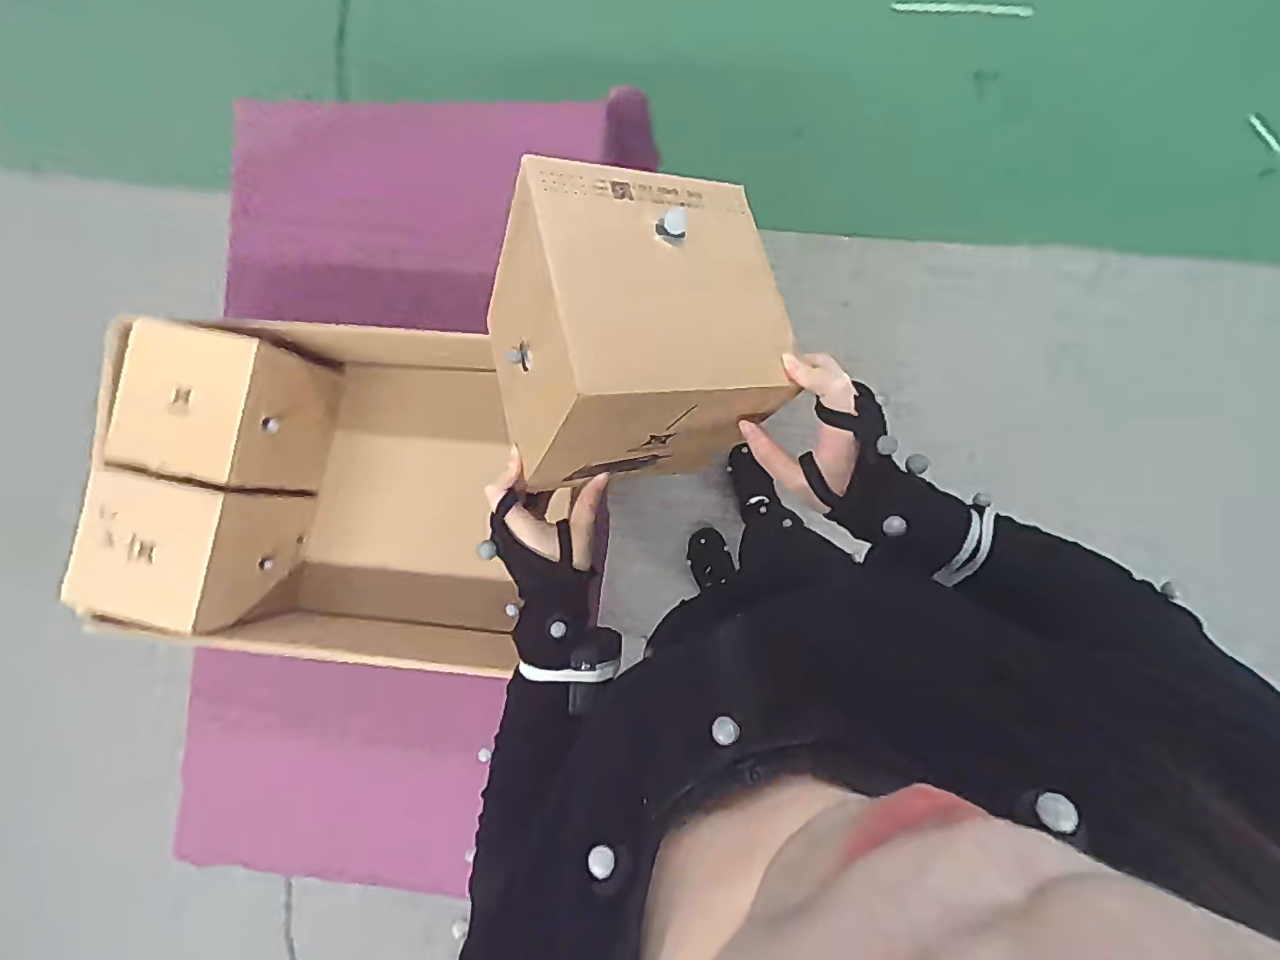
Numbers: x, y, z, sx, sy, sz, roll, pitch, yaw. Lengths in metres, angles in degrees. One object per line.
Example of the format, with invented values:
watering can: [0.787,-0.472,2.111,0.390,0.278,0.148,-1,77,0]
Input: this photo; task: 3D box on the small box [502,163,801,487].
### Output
small box: [-0.009,-0.105,0.429,0.168,0.179,0.176,-6,73,-24]
